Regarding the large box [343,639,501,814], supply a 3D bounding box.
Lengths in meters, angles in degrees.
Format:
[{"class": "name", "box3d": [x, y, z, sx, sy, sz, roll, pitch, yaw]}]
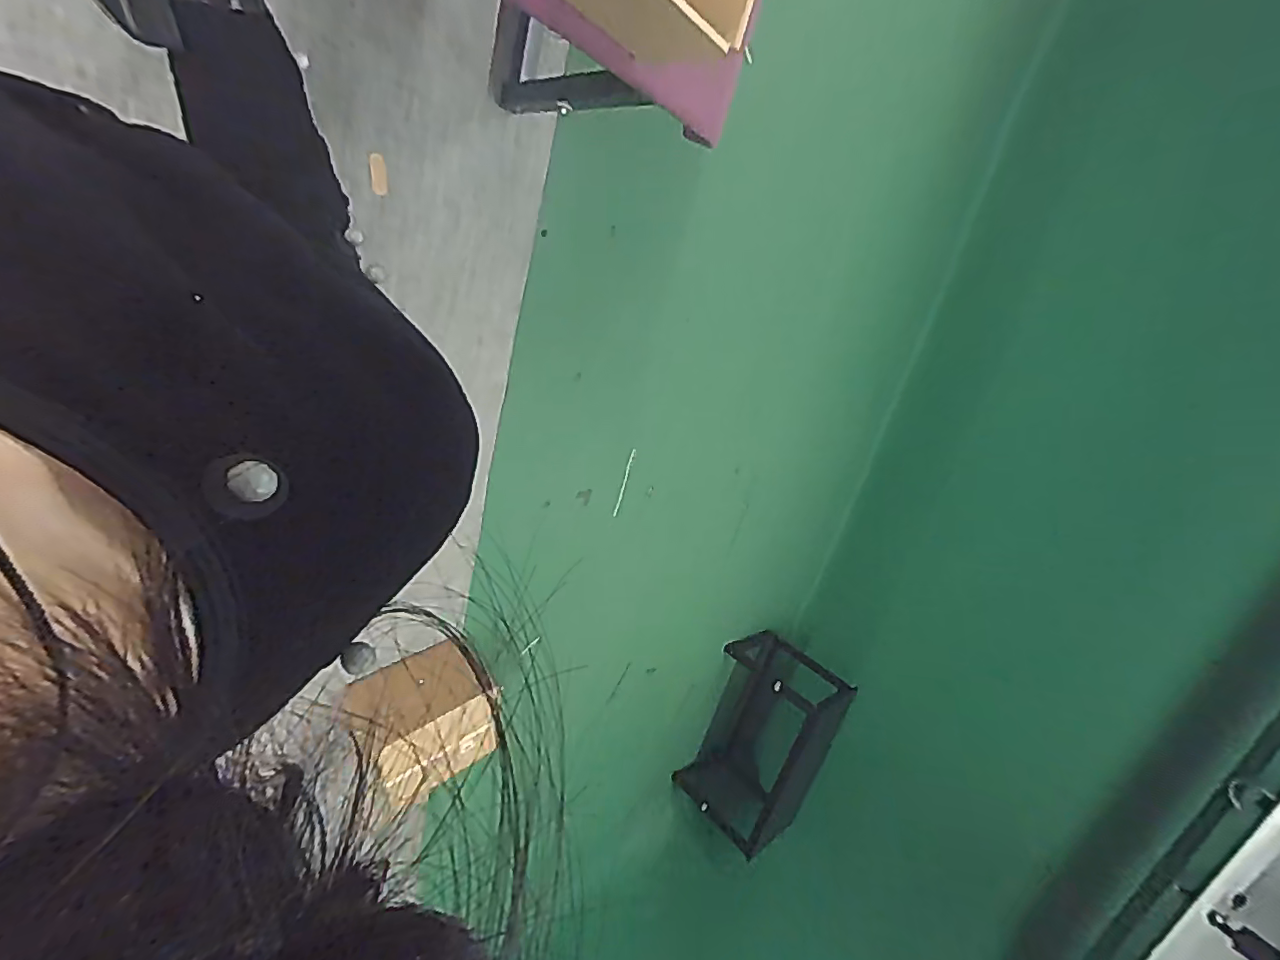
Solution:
[{"class": "large box", "box3d": [-0.746, 0.831, 1.880, 0.408, 0.320, 0.320, -20, 127, -39]}]
